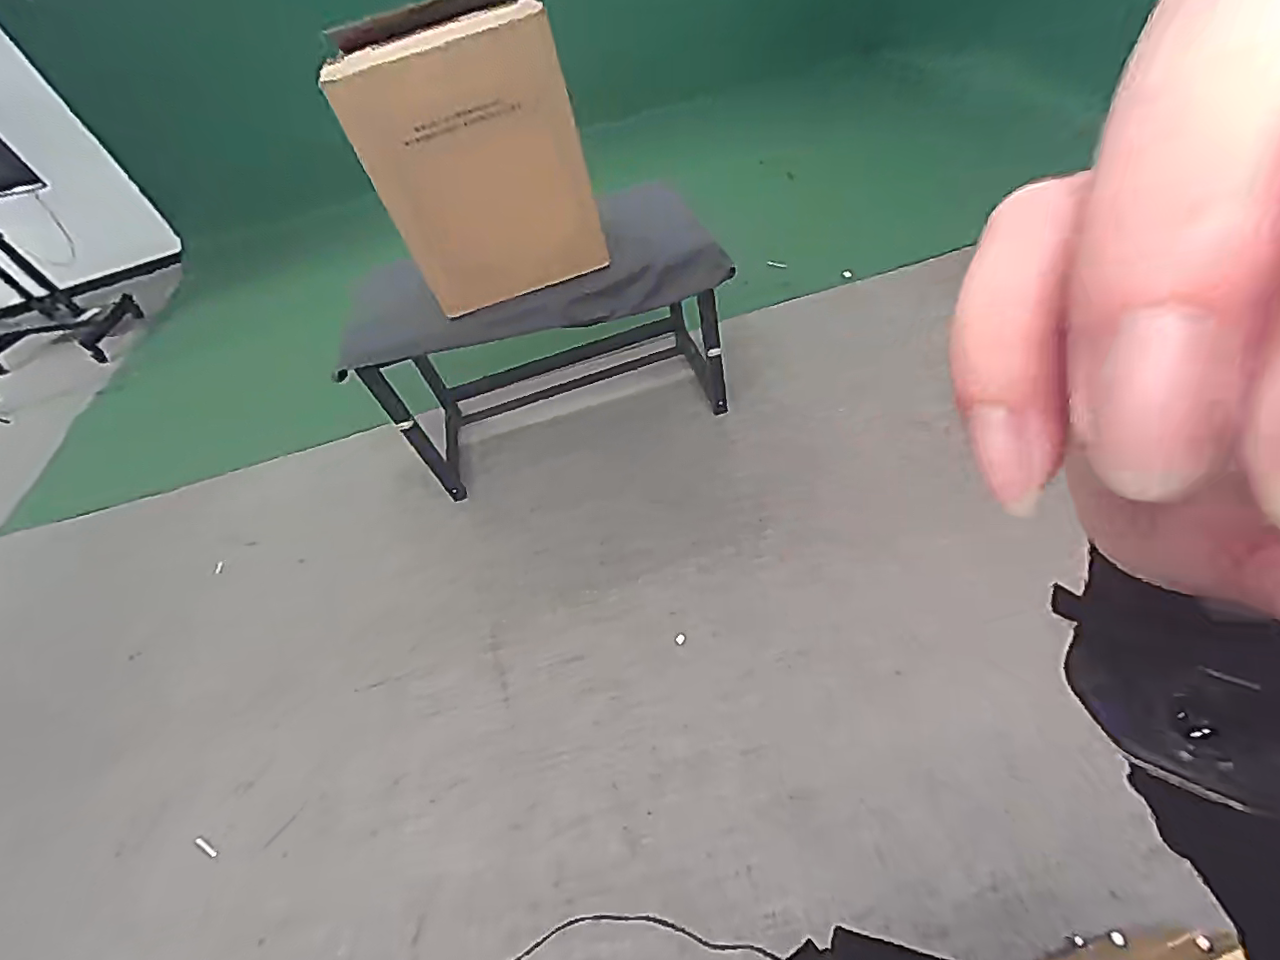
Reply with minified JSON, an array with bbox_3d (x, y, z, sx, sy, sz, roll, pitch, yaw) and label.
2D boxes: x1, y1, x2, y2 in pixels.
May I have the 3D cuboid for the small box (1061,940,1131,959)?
[{"bbox_3d":[0.880,0.945,0.954,0.168,0.176,0.179,-20,47,-3],"label":"small box"}]

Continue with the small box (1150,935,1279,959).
[{"bbox_3d":[0.817,0.730,0.715,0.179,0.176,0.168,-18,48,-3],"label":"small box"}]

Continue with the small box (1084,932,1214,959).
[{"bbox_3d":[0.848,0.835,0.836,0.168,0.176,0.179,-20,48,-3],"label":"small box"}]
